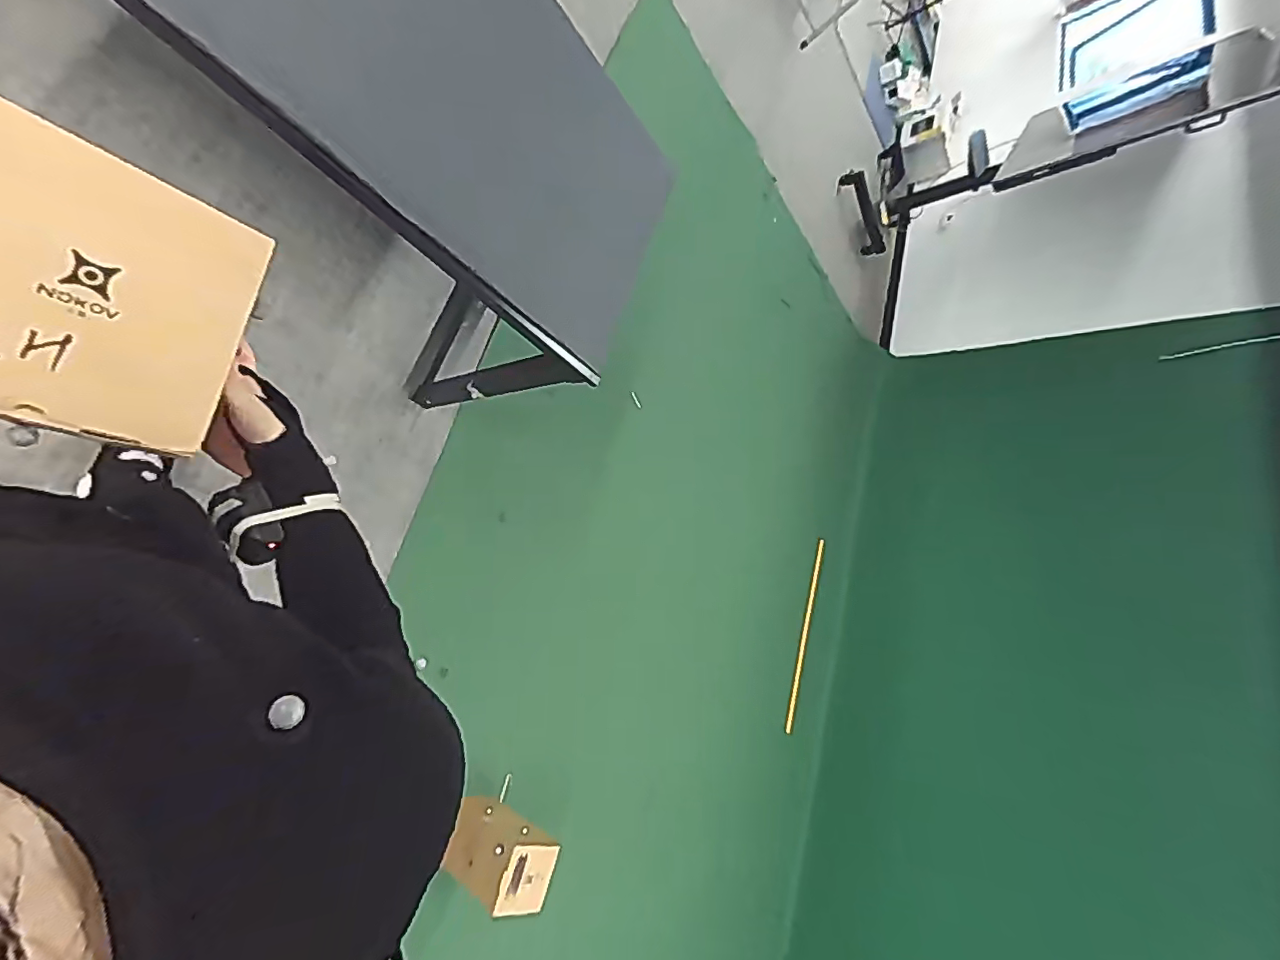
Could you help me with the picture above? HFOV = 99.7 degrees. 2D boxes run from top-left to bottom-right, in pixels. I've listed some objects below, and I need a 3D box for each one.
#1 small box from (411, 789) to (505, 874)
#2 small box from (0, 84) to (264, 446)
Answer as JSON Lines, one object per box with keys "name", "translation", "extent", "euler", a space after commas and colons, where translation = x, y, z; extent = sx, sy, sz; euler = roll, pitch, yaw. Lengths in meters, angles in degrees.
{"name": "small box", "translation": [-0.550, 1.056, 1.633], "extent": [0.179, 0.176, 0.168], "euler": [38, 63, -43]}
{"name": "small box", "translation": [-0.414, -0.133, 0.387], "extent": [0.168, 0.176, 0.179], "euler": [25, 75, -48]}
